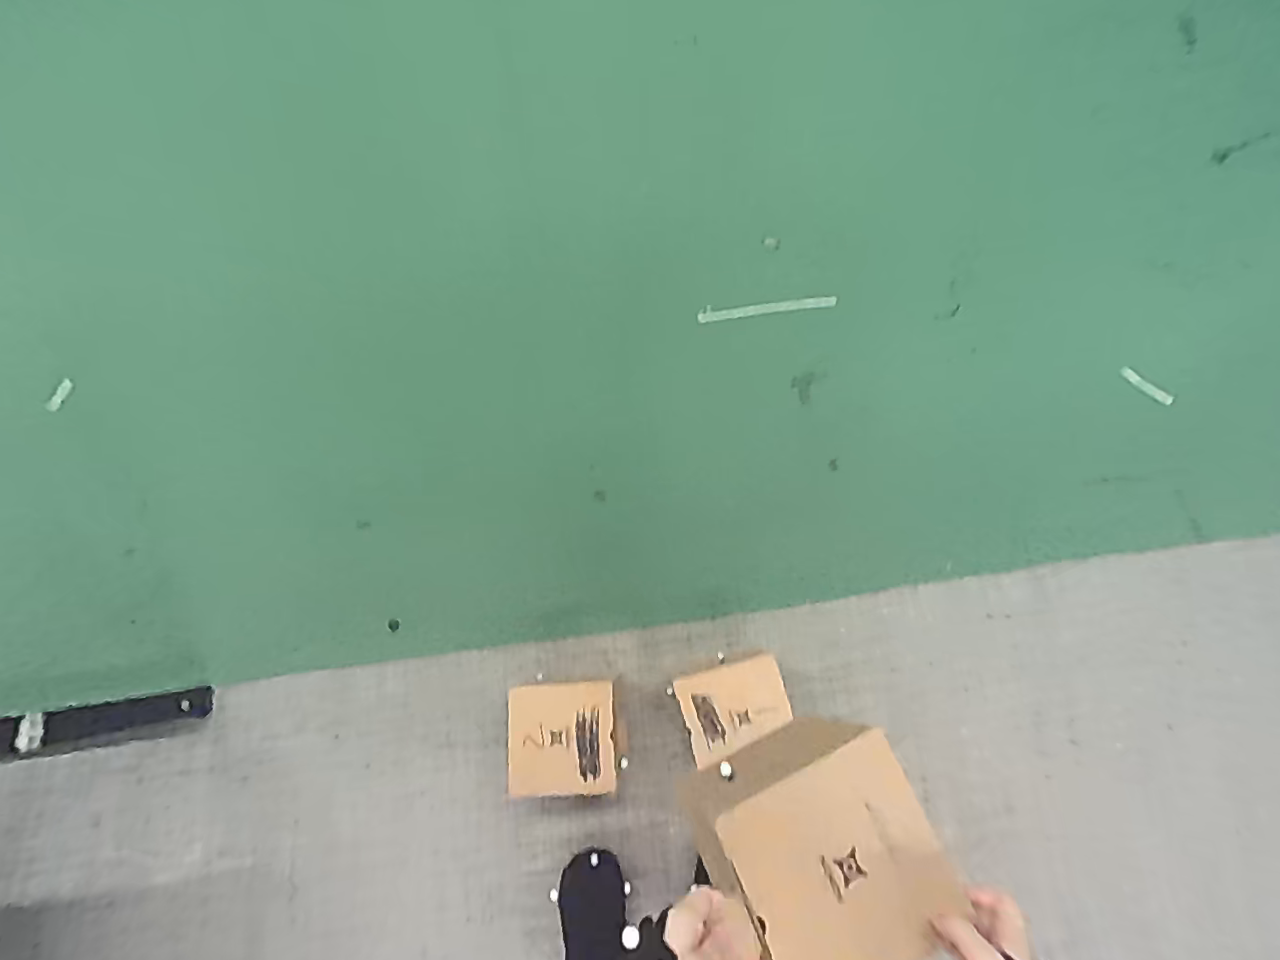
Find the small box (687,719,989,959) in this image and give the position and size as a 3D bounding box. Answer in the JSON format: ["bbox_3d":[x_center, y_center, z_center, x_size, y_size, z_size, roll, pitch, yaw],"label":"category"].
[{"bbox_3d":[0.157,0.342,0.500,0.179,0.176,0.168,-21,75,-16],"label":"small box"}]

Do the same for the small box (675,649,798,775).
[{"bbox_3d":[0.164,0.399,0.936,0.179,0.176,0.168,-15,76,-2],"label":"small box"}]
